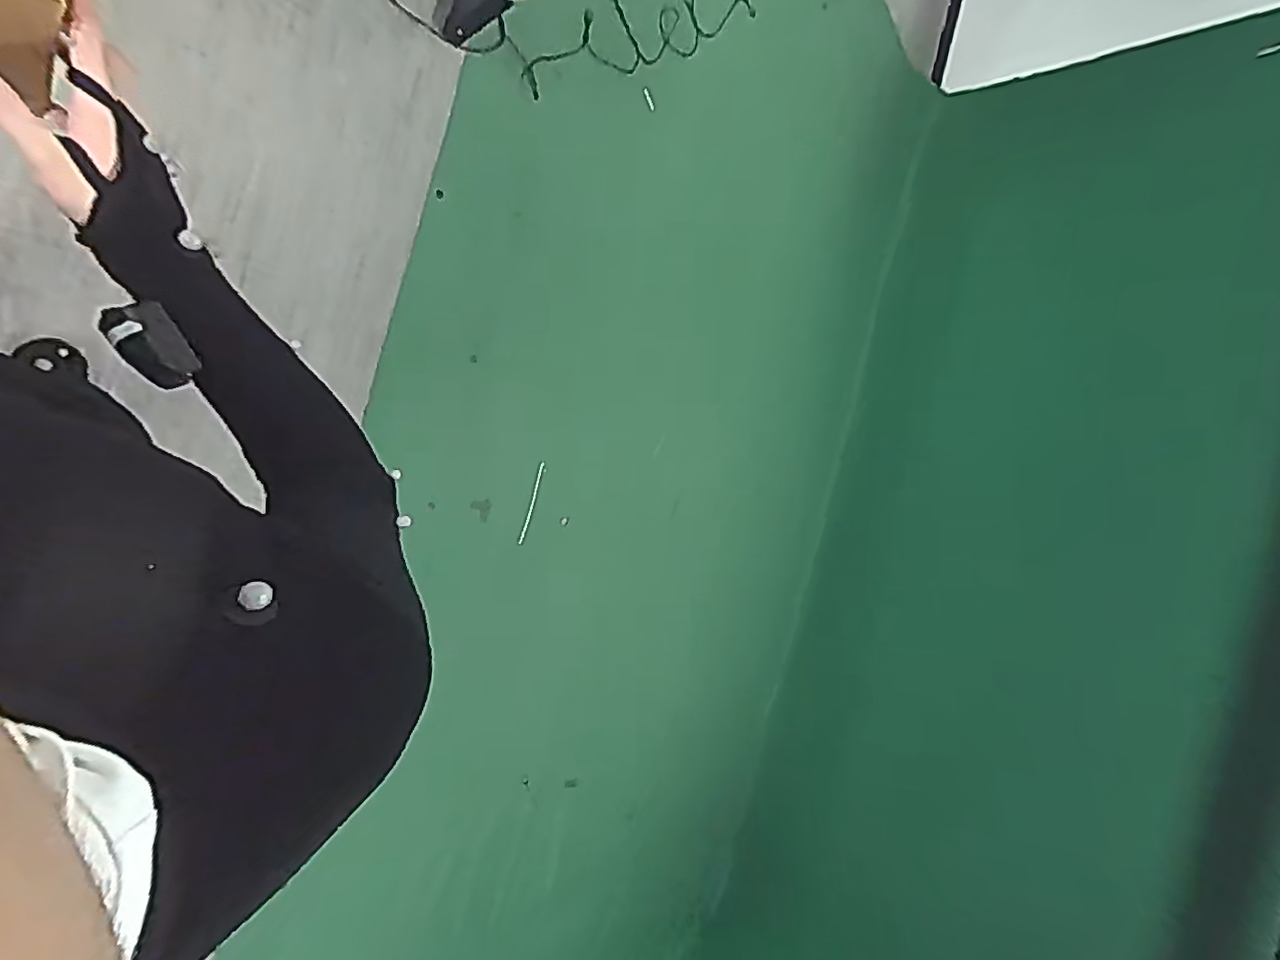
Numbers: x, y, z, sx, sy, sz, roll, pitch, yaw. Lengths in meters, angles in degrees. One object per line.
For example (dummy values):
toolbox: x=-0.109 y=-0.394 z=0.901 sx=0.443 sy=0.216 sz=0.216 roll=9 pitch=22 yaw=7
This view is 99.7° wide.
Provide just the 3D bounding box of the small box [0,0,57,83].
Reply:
small box: x=-0.481 y=-0.397 z=0.328 sx=0.179 sy=0.176 sz=0.168 roll=6 pitch=84 yaw=-50
